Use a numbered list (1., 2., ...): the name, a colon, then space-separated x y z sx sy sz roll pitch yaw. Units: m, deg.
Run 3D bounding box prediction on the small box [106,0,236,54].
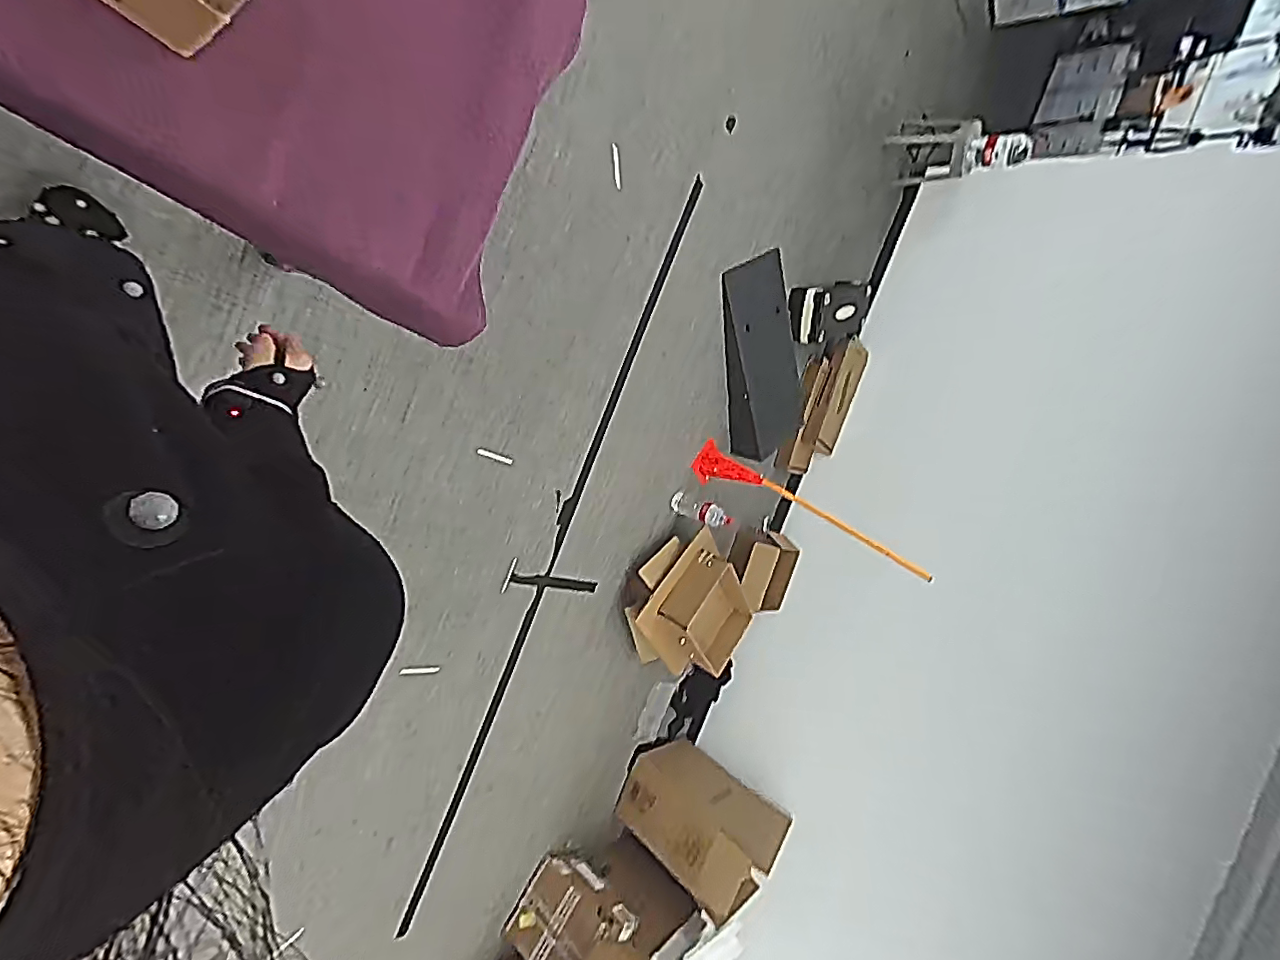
1. small box: -0.411 -0.496 0.435 0.168 0.176 0.179 23 88 -52
